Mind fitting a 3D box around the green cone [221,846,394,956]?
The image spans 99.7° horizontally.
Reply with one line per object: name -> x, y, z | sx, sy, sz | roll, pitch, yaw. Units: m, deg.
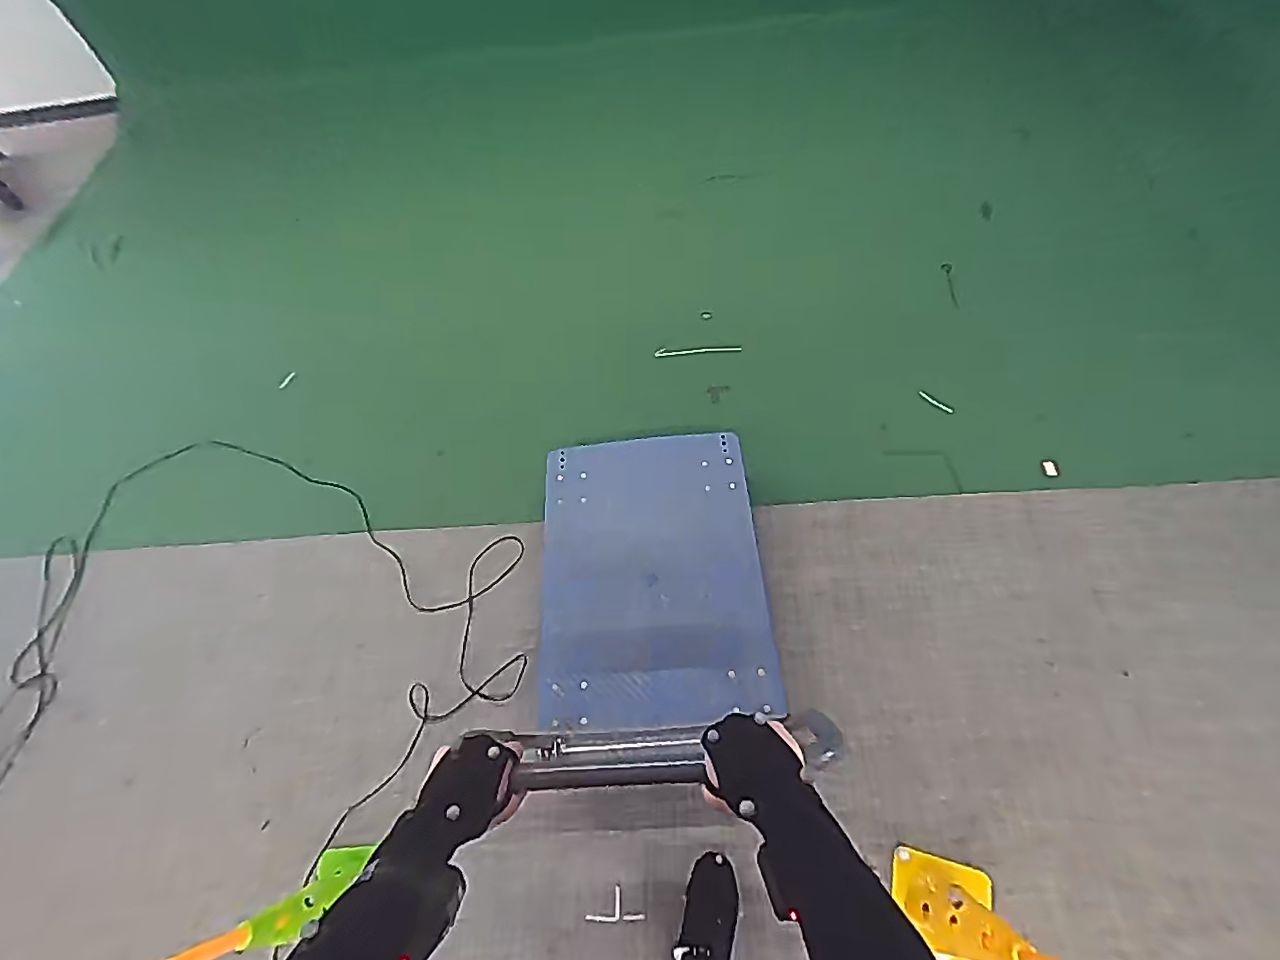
green cone -> -0.706, 0.904, 1.126 | 0.202, 0.368, 0.200 | -8, 60, 4
